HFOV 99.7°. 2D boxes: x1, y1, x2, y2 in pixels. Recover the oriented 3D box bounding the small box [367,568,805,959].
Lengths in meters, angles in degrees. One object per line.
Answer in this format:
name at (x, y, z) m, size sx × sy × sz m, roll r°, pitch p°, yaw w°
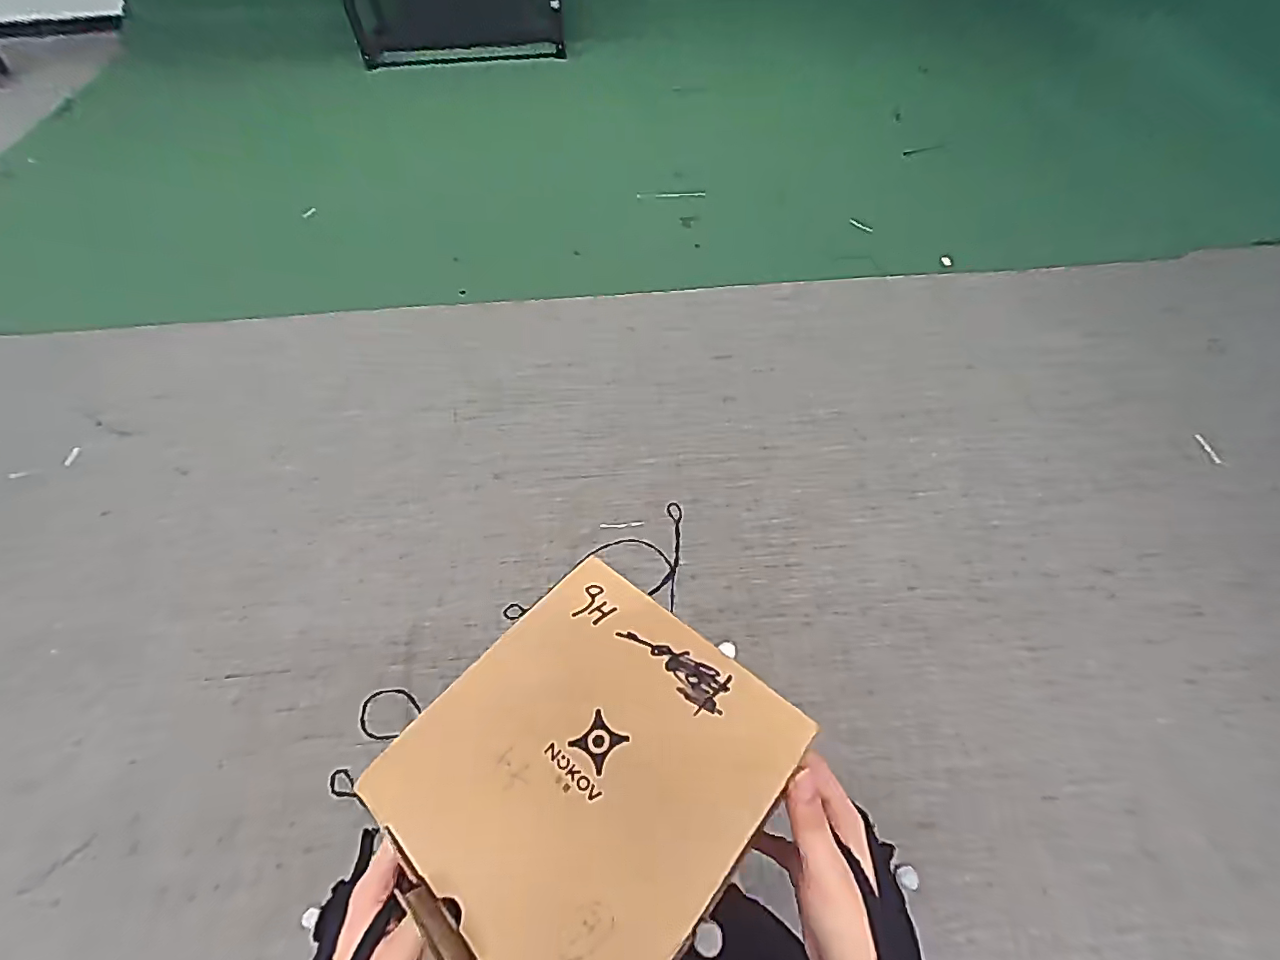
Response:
small box at (-0.020, 0.198, 0.339) m, size 0.168 × 0.176 × 0.179 m, roll 32°, pitch 60°, yaw 29°
